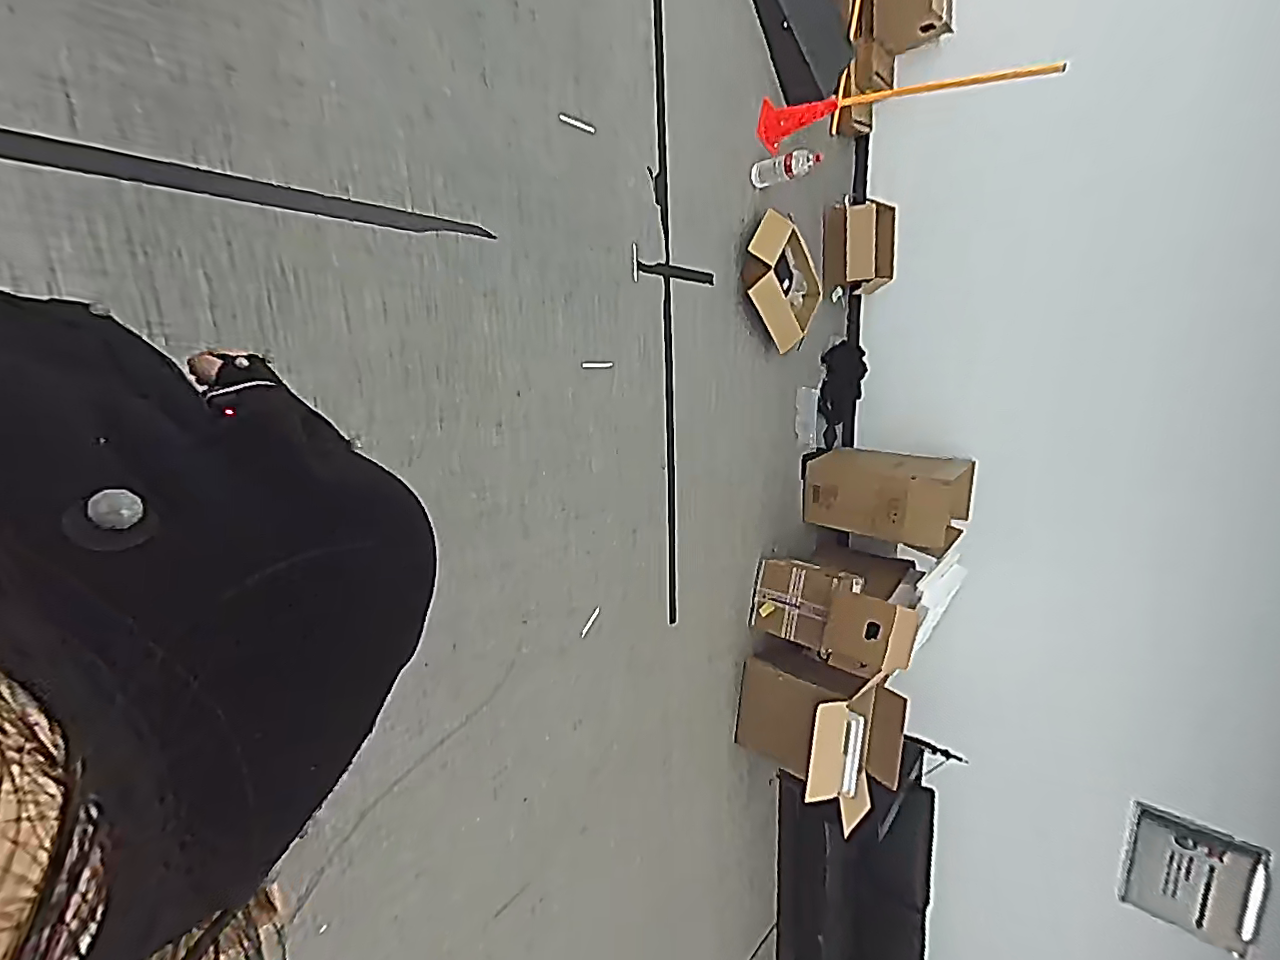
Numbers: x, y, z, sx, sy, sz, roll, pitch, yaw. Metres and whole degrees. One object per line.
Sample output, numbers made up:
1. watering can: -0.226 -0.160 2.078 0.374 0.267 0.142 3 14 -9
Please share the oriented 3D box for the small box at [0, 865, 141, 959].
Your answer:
1. small box: -1.095 0.900 1.037 0.168 0.176 0.179 -23 114 -45
